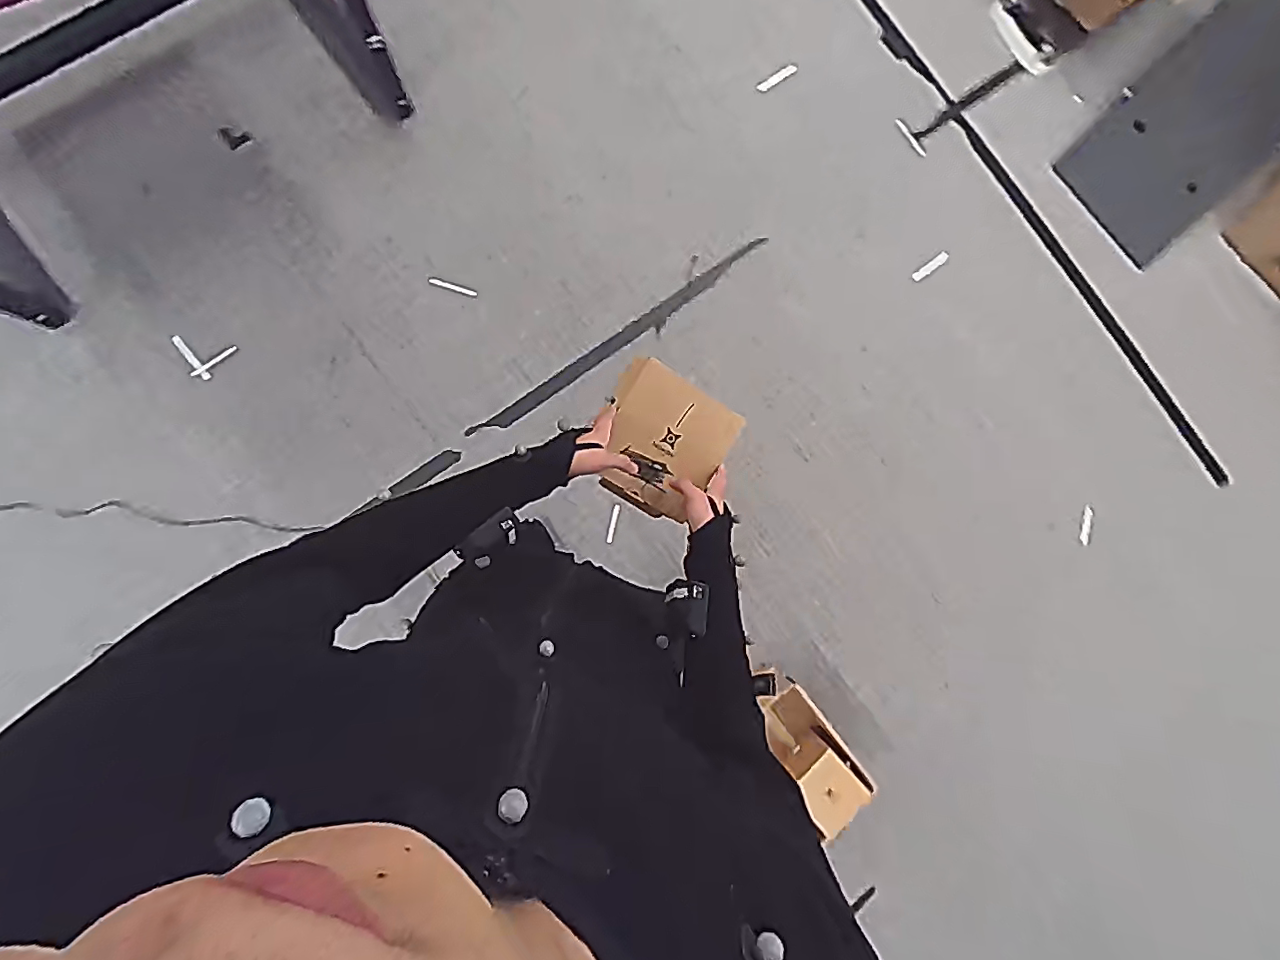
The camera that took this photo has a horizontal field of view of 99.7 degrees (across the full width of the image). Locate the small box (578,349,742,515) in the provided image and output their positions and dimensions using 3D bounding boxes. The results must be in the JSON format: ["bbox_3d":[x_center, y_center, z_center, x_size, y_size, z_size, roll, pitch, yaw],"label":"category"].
[{"bbox_3d":[0.020,-0.079,0.814,0.168,0.176,0.179,31,98,-14],"label":"small box"}]
